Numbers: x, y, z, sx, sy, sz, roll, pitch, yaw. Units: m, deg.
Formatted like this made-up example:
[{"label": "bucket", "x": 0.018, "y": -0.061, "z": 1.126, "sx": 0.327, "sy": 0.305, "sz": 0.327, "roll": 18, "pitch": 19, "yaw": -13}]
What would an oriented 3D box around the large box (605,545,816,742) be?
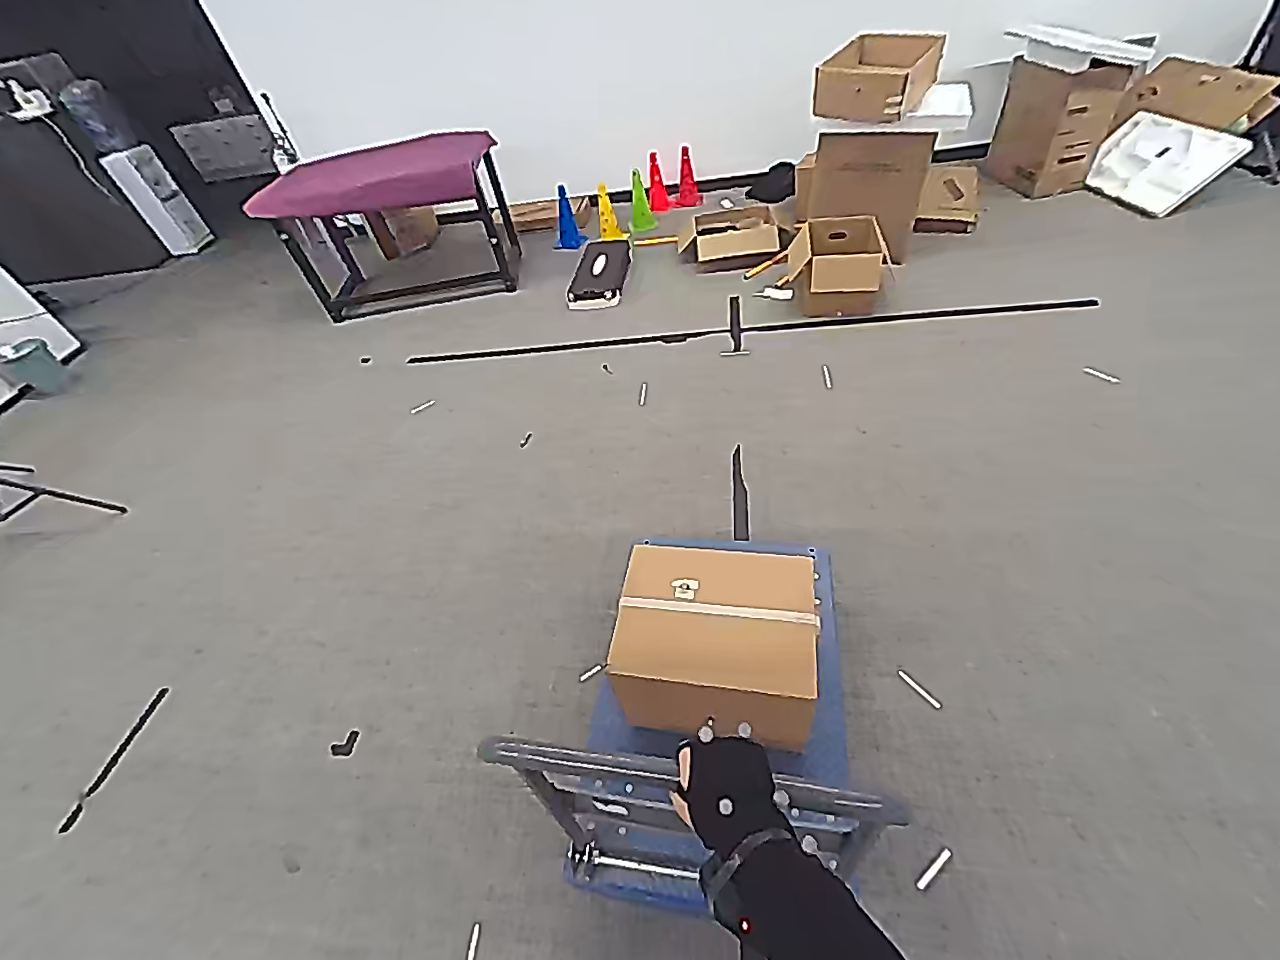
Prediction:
[{"label": "large box", "x": 0.174, "y": 0.366, "z": 1.220, "sx": 0.408, "sy": 0.320, "sz": 0.320, "roll": 1, "pitch": 47, "yaw": 14}]
